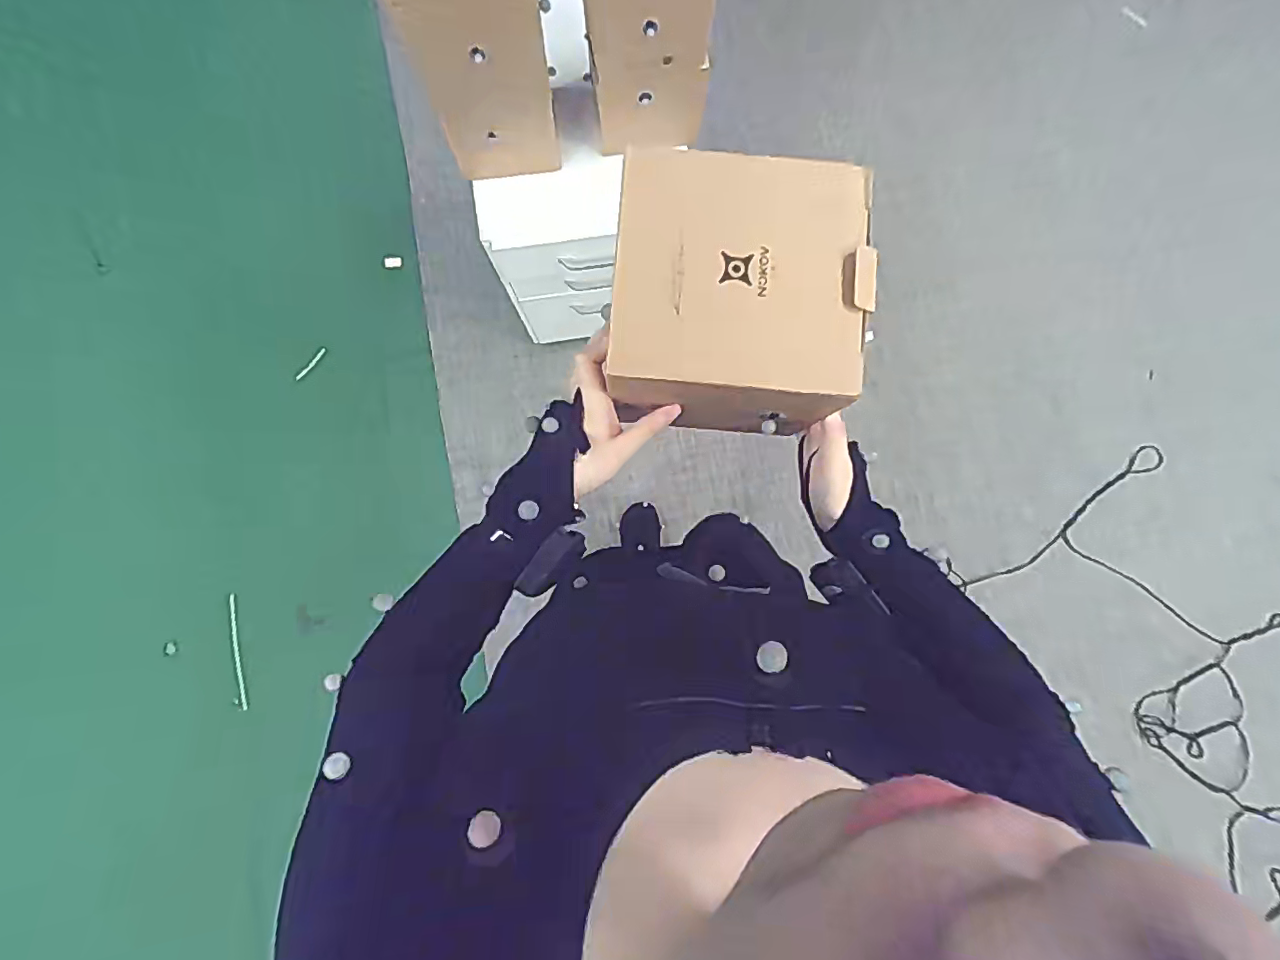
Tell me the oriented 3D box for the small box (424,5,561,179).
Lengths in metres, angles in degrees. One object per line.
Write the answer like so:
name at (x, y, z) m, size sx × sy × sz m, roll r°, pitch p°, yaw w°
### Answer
small box at (-0.235, -0.630, 0.899) m, size 0.179 × 0.176 × 0.168 m, roll -8°, pitch 86°, yaw -3°

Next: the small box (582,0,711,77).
small box at (0.003, -0.698, 0.745) m, size 0.168 × 0.176 × 0.179 m, roll -11°, pitch 85°, yaw -2°

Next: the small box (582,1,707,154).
small box at (0.007, -0.681, 0.909) m, size 0.179 × 0.176 × 0.168 m, roll -9°, pitch 86°, yaw -2°

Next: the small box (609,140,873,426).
small box at (0.070, -0.143, 0.453) m, size 0.179 × 0.176 × 0.168 m, roll 4°, pitch 85°, yaw 0°
